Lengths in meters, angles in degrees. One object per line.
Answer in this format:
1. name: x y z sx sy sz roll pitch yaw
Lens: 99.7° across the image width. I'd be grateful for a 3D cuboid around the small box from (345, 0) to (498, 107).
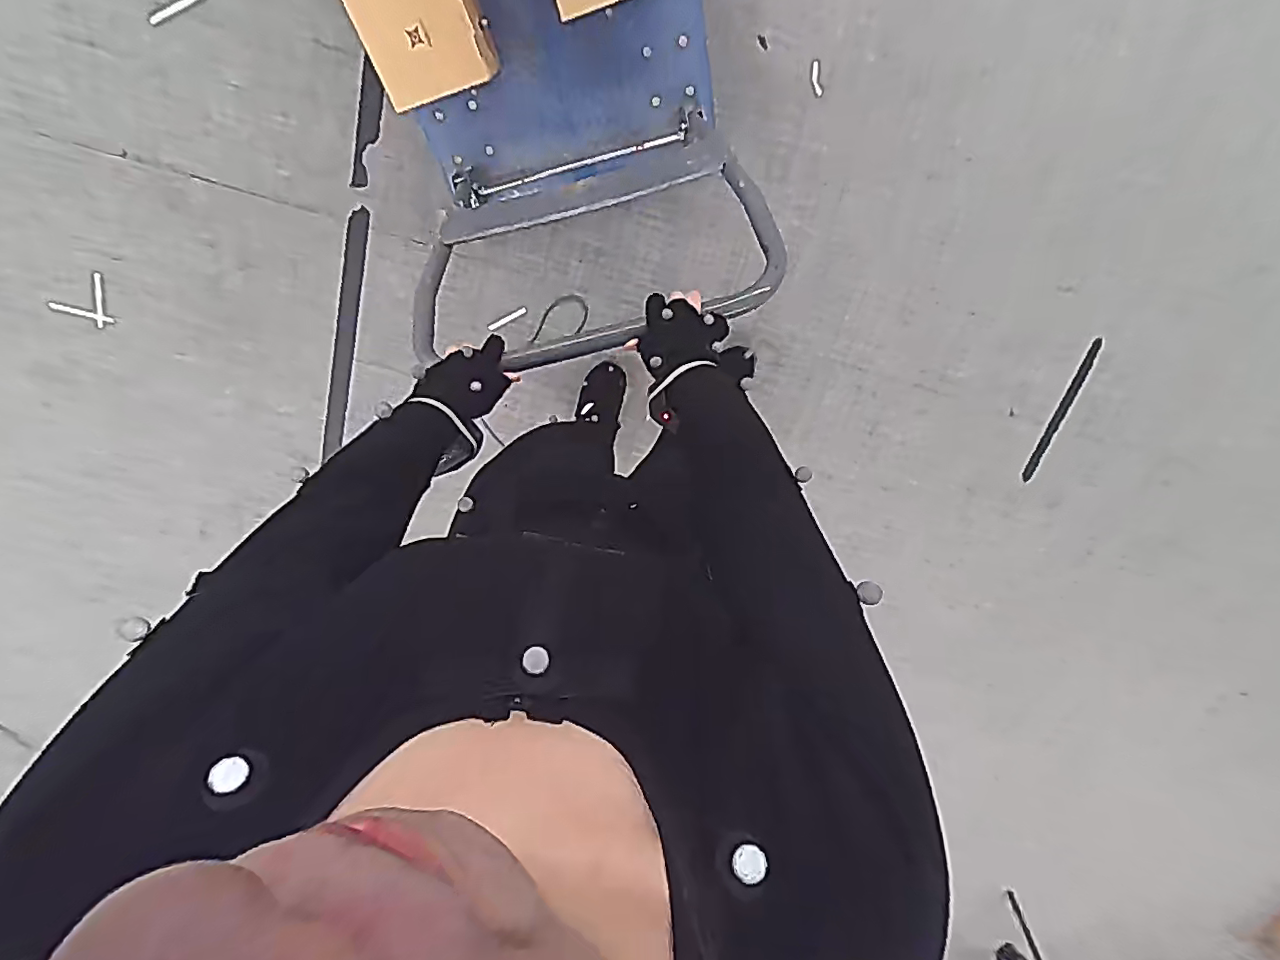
1. small box: -0.358 -0.762 0.914 0.179 0.176 0.168 -16 132 6
